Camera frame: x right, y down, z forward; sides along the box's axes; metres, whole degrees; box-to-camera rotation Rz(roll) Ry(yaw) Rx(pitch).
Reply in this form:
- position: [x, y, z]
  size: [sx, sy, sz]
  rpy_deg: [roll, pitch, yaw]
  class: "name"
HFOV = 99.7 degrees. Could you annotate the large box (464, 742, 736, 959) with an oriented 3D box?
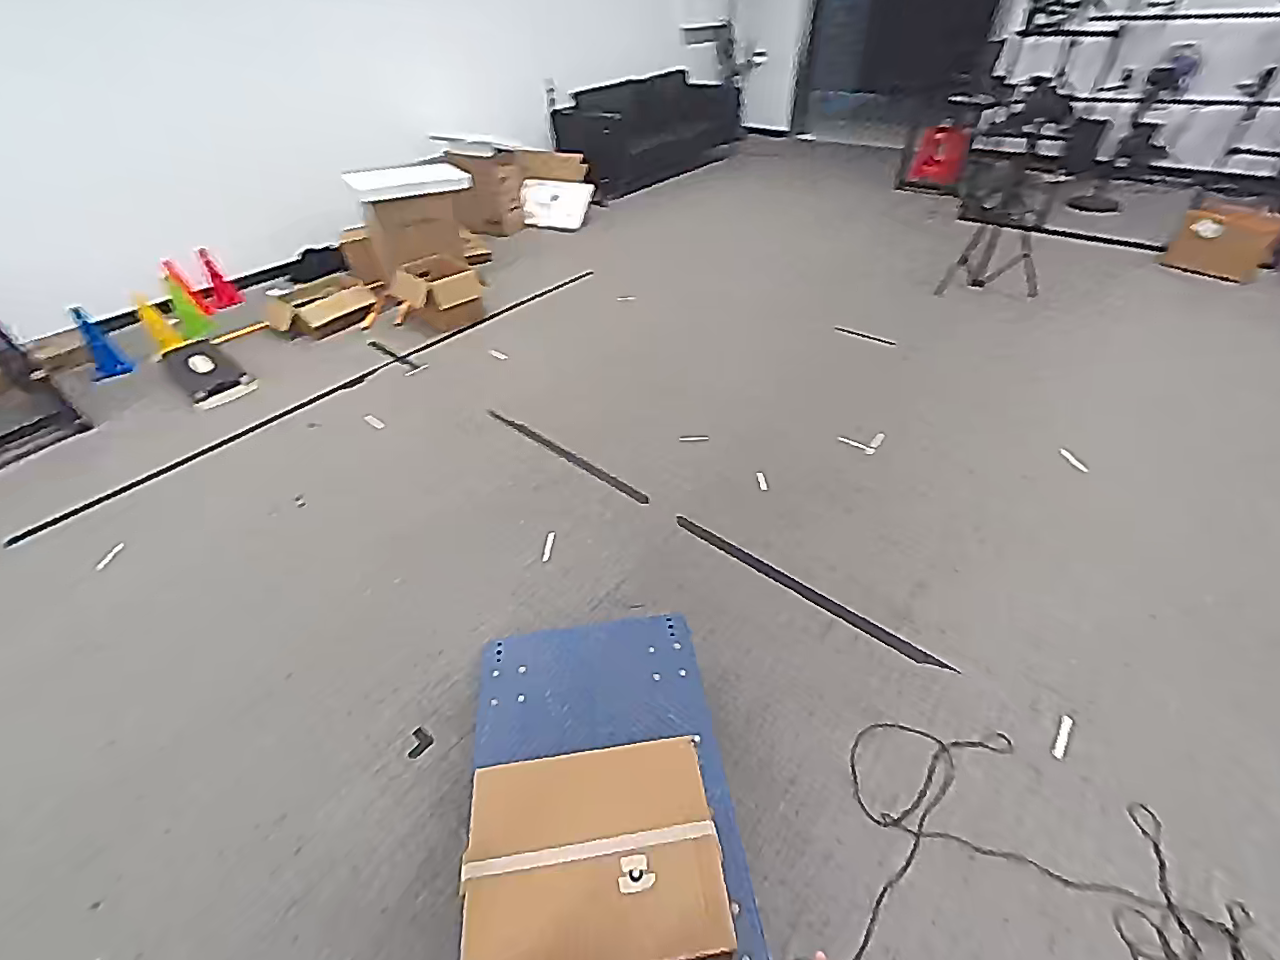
- position: [-0.074, 0.723, 0.975]
  size: [0.408, 0.320, 0.320]
  rpy_deg: [-6, 43, -5]
  class: "large box"
